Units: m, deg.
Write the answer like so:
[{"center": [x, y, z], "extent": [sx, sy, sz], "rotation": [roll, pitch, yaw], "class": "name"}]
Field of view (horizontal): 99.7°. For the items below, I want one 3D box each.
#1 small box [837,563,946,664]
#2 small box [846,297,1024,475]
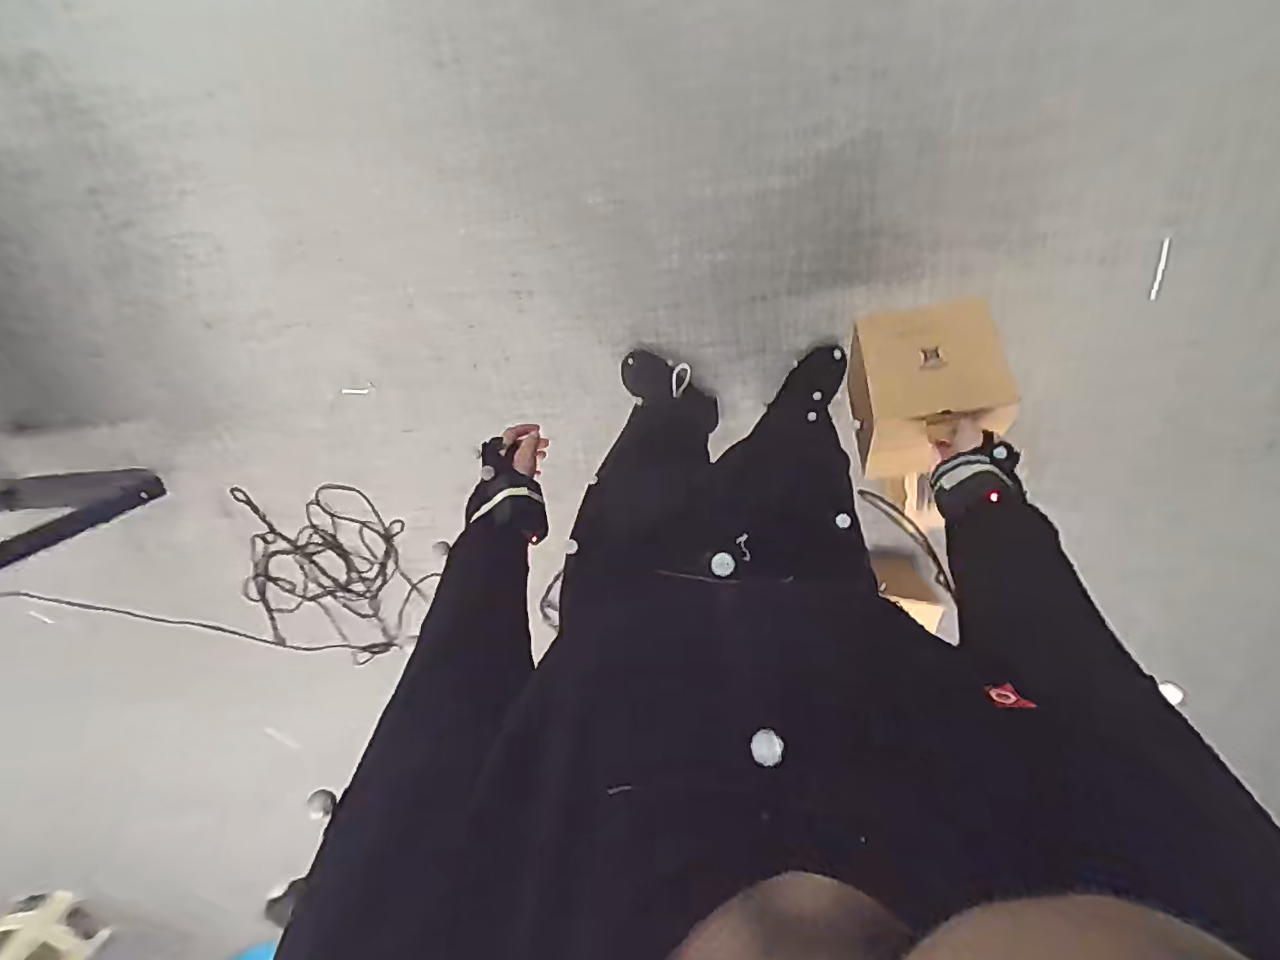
[{"center": [0.609, 0.322, 1.333], "extent": [0.179, 0.176, 0.168], "rotation": [8, 114, 4], "class": "small box"}, {"center": [0.389, -0.117, 0.749], "extent": [0.168, 0.179, 0.176], "rotation": [-6, 151, 13], "class": "small box"}]
